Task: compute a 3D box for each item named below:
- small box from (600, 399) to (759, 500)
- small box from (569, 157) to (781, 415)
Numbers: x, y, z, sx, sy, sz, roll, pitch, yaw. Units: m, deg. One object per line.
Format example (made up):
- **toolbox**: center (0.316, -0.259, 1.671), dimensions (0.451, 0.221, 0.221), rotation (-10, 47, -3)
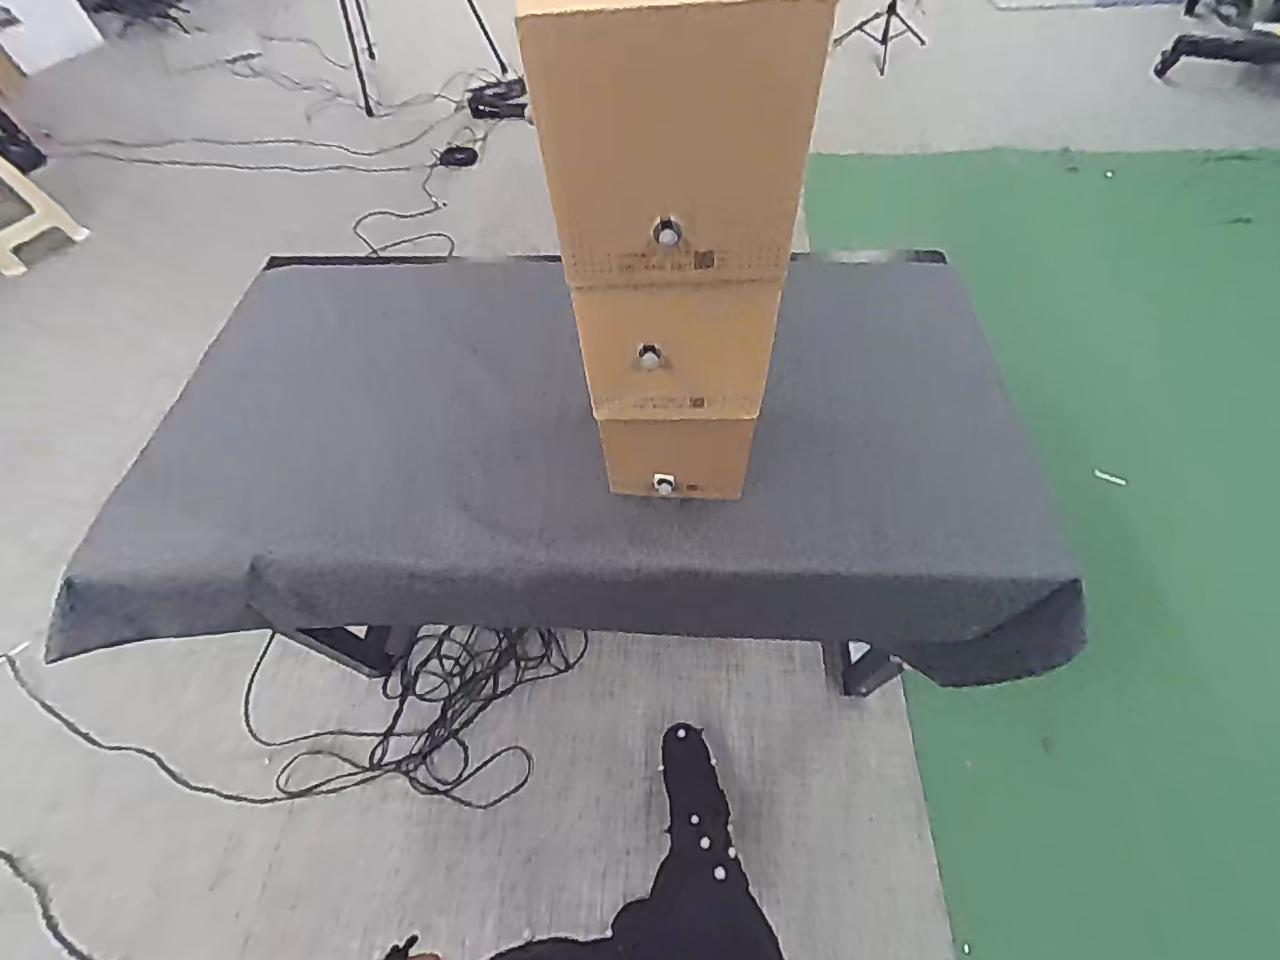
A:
- **small box**: center (0.049, -0.095, 0.658), dimensions (0.168, 0.176, 0.179), rotation (1, 58, 5)
- **small box**: center (0.036, -0.176, 0.518), dimensions (0.168, 0.176, 0.179), rotation (0, 56, 5)
